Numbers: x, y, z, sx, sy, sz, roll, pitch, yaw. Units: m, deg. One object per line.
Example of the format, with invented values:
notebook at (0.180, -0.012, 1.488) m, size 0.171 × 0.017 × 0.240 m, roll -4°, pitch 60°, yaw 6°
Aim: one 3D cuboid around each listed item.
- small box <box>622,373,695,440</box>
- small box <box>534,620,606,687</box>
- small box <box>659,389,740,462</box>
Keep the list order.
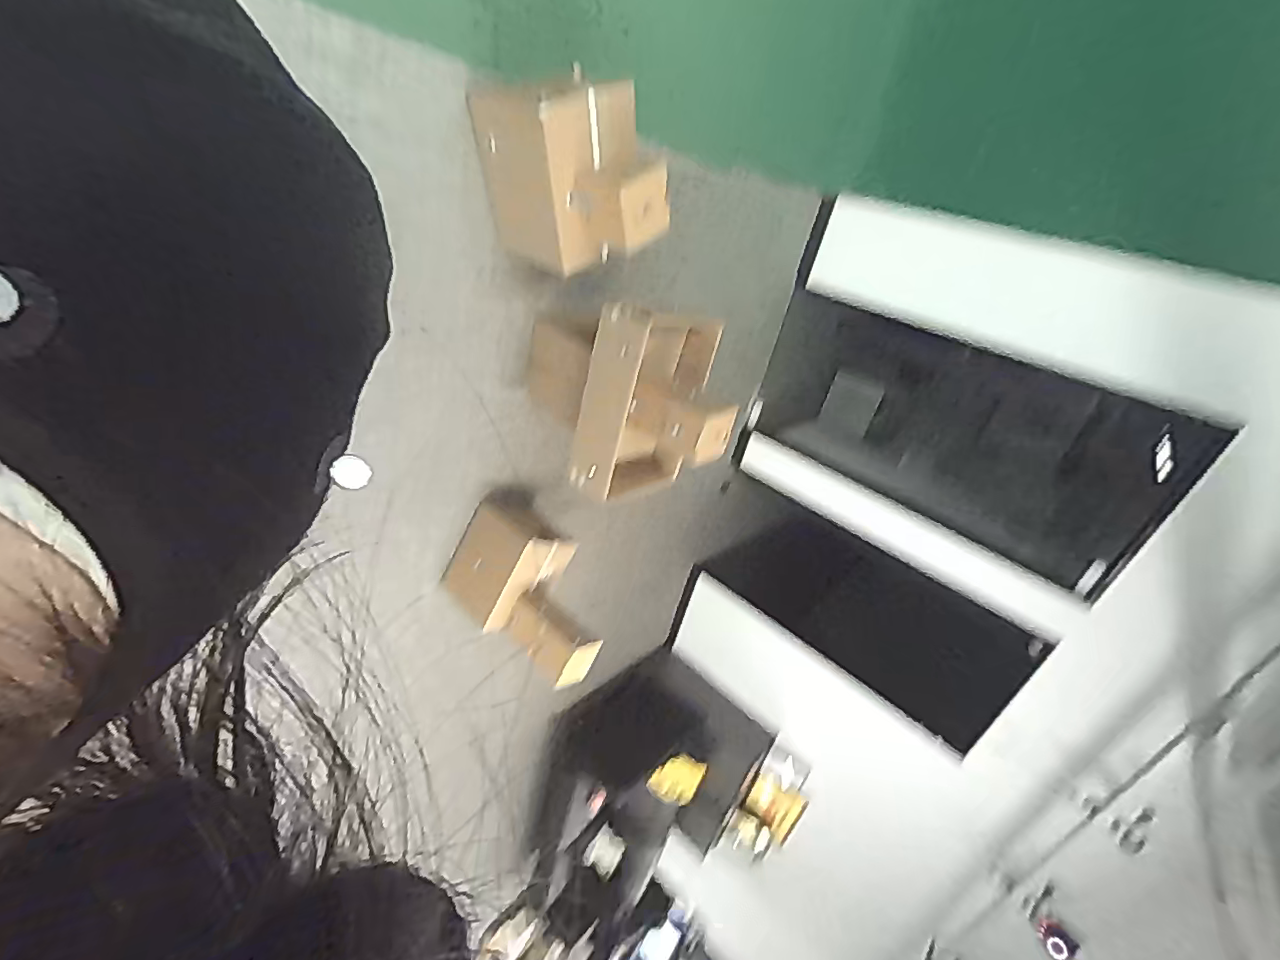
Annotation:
small box at (0.068, -0.254, 1.821) m, size 0.179 × 0.176 × 0.168 m, roll -18°, pitch 131°, yaw -46°
small box at (-0.267, 0.652, 2.060) m, size 0.179 × 0.176 × 0.168 m, roll 8°, pitch 111°, yaw -57°
small box at (0.186, -0.181, 1.733) m, size 0.179 × 0.176 × 0.168 m, roll -20°, pitch 133°, yaw -44°
